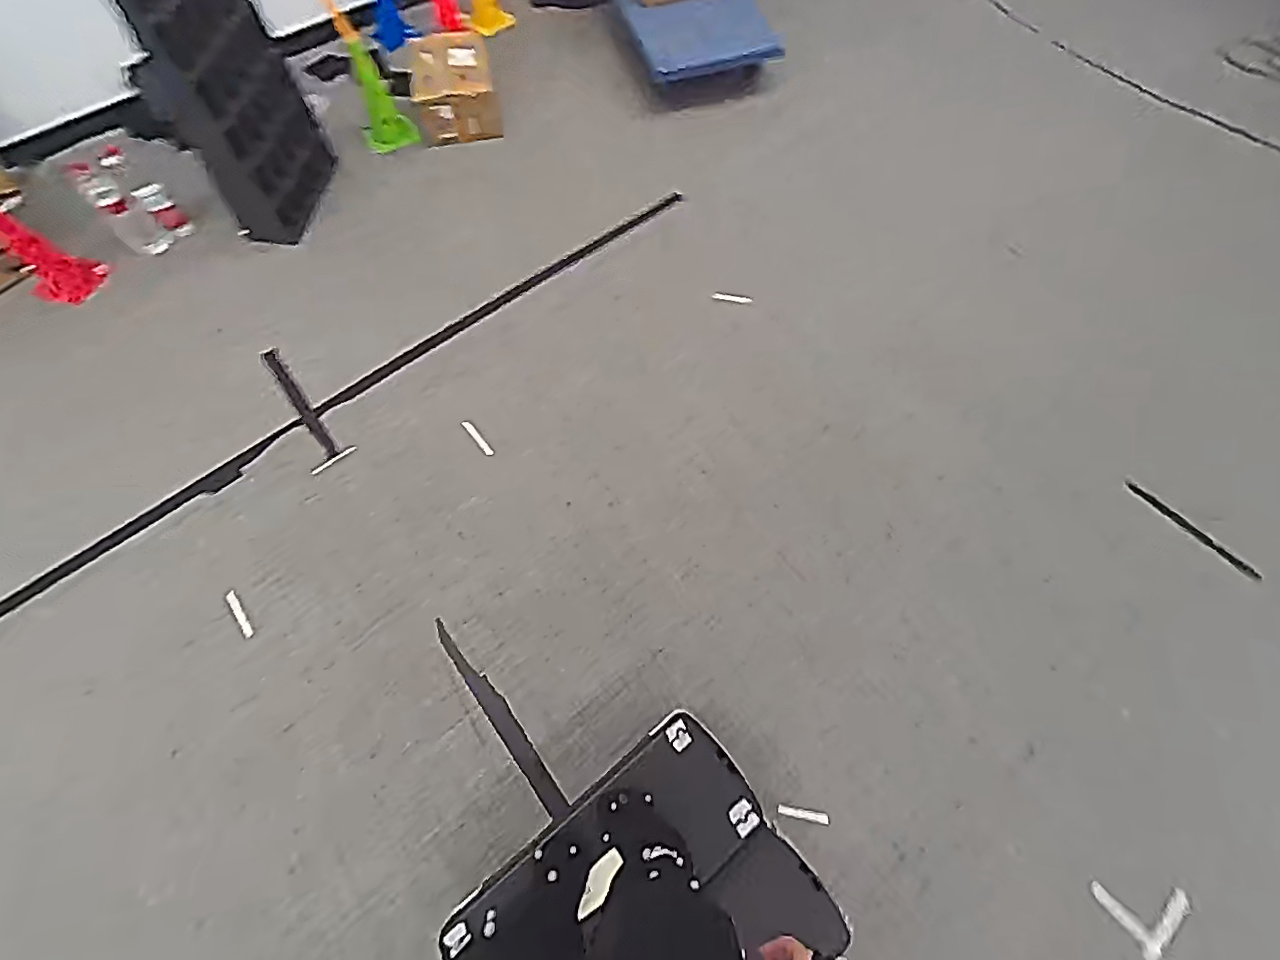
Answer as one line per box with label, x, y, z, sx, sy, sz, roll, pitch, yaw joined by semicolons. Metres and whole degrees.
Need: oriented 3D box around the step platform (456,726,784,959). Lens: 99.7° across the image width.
step platform;-0.029;0.842;1.147;0.684;0.204;0.286;-32;68;-15
